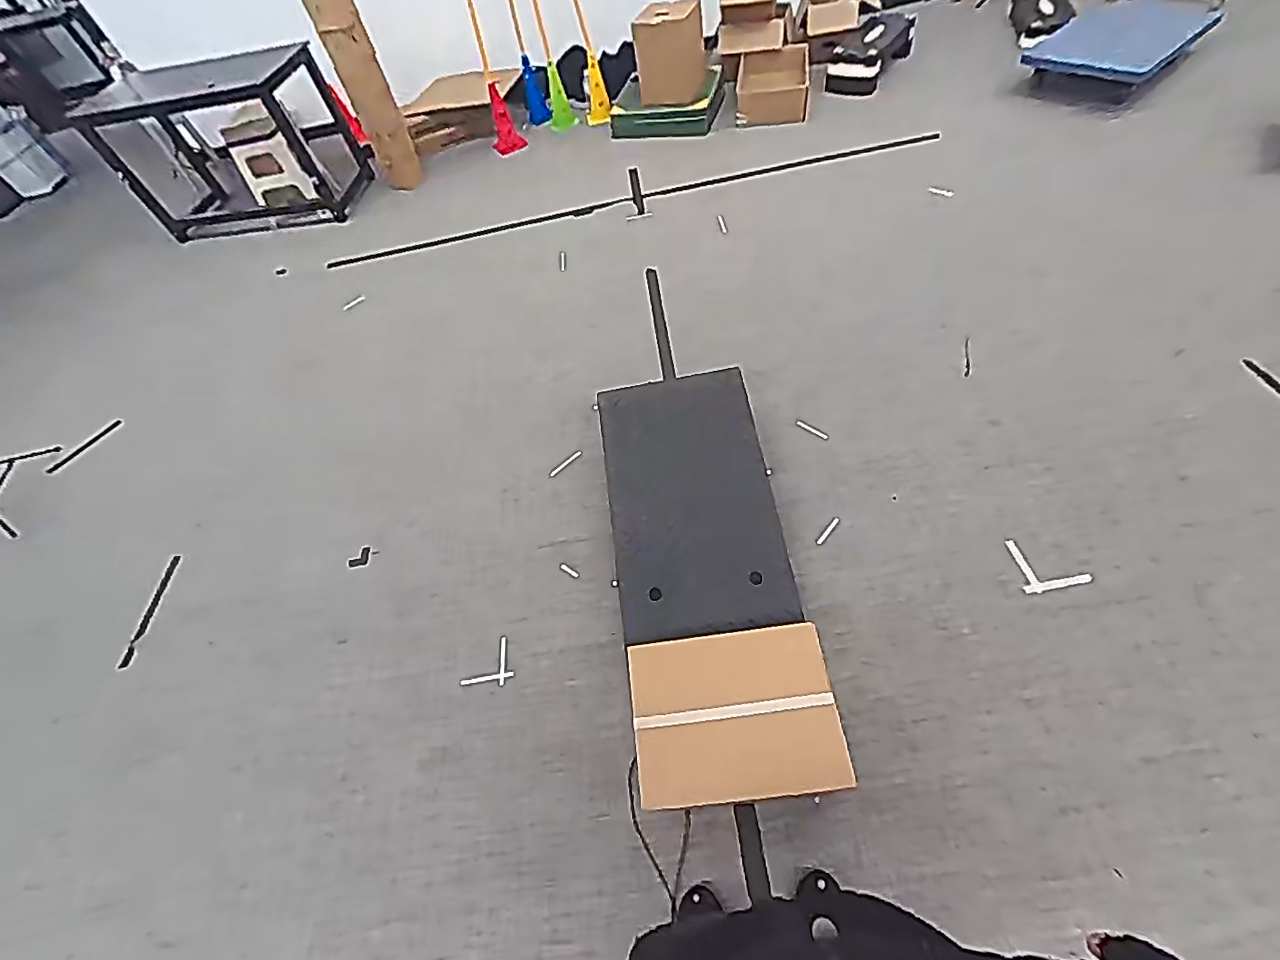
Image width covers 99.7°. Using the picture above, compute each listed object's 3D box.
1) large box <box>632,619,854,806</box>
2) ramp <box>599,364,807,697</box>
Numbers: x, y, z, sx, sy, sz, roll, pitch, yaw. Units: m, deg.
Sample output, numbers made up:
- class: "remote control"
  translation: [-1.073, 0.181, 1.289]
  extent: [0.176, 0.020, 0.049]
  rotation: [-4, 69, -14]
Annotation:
- class: "large box"
  translation: [0.214, 0.535, 1.224]
  extent: [0.408, 0.320, 0.320]
  rotation: [-9, 58, 4]
- class: "ramp"
  translation: [0.165, 0.099, 1.619]
  extent: [0.509, 0.206, 0.991]
  rotation: [-11, 55, 2]
